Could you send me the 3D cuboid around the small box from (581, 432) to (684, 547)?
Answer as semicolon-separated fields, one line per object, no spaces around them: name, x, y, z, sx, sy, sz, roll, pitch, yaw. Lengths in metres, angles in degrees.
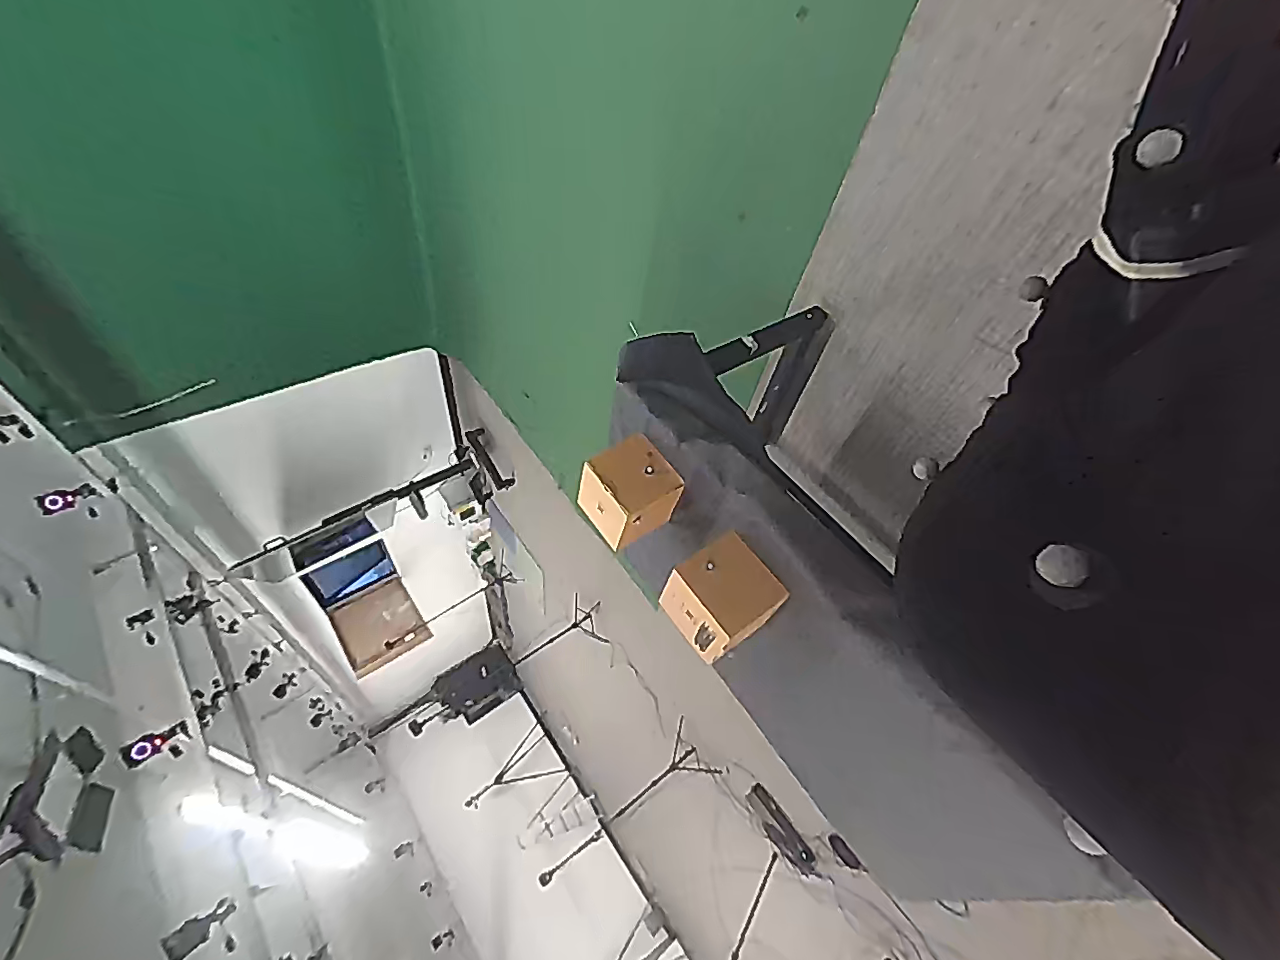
small box;-0.019;0.021;1.265;0.168;0.176;0.179;50;150;21
